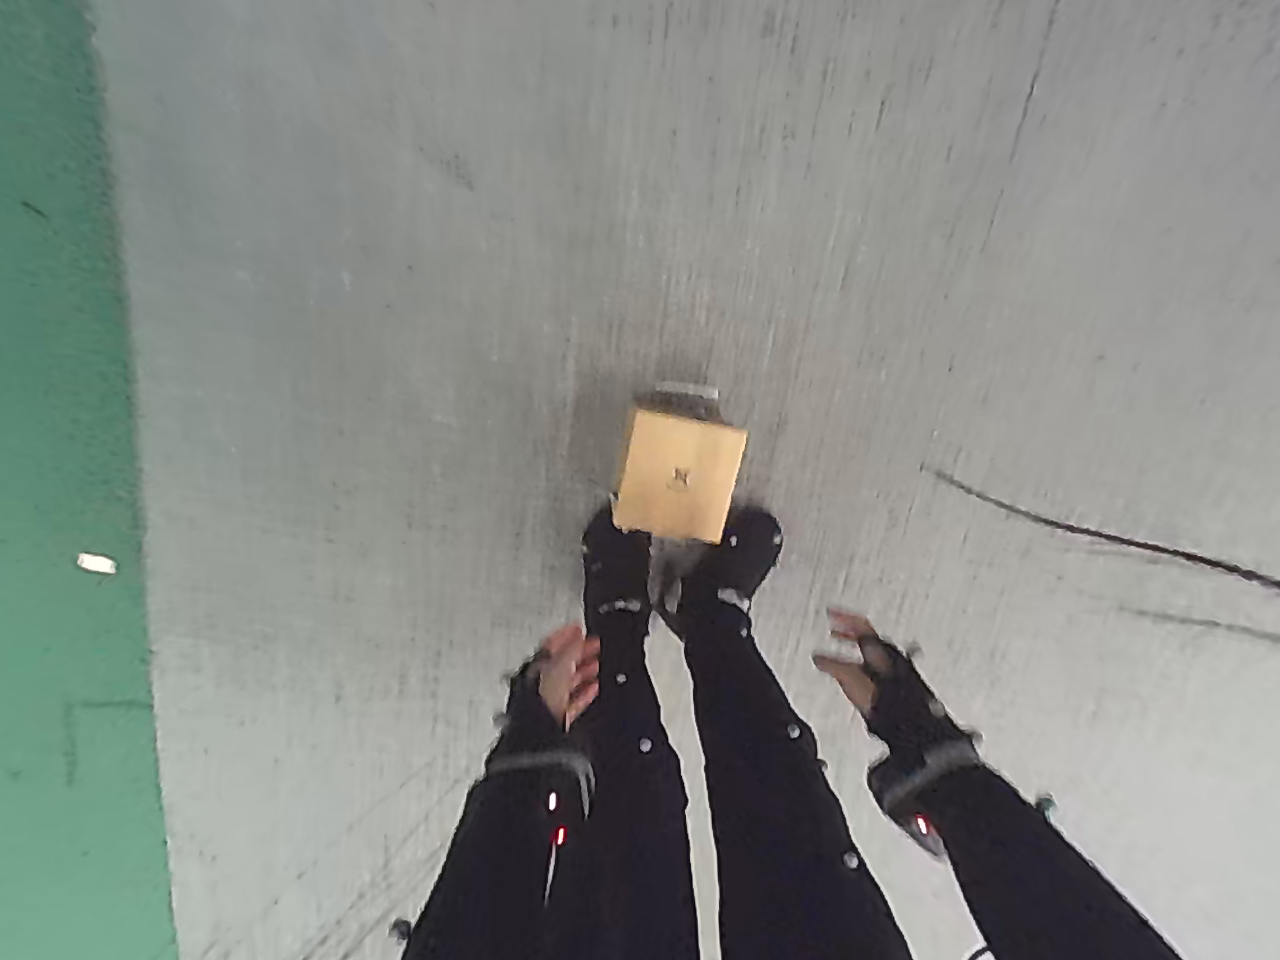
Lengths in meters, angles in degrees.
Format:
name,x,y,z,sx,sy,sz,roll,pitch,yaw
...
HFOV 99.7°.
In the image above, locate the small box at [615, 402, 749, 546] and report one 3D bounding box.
name,x,y,z,sx,sy,sz,roll,pitch,yaw
small box,0.054,-0.019,0.862,0.168,0.176,0.179,11,105,-7
